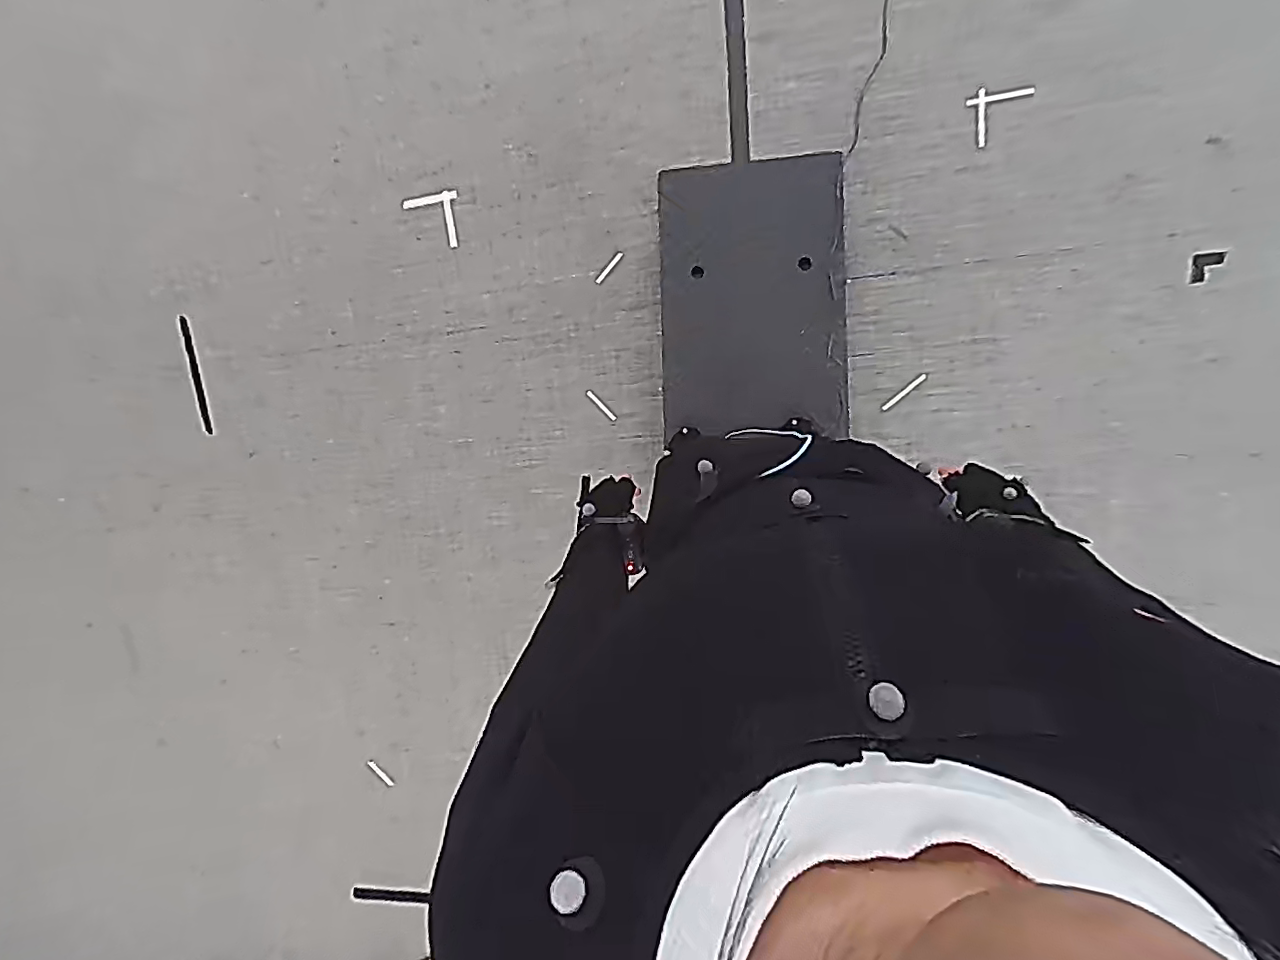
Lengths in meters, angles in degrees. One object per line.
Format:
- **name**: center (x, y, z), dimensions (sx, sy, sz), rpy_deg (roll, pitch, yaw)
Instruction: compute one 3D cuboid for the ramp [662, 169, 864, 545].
- **ramp**: center (0.320, -0.329, 1.474), dimensions (0.509, 0.206, 0.991), rpy_deg (-4, 97, 11)
